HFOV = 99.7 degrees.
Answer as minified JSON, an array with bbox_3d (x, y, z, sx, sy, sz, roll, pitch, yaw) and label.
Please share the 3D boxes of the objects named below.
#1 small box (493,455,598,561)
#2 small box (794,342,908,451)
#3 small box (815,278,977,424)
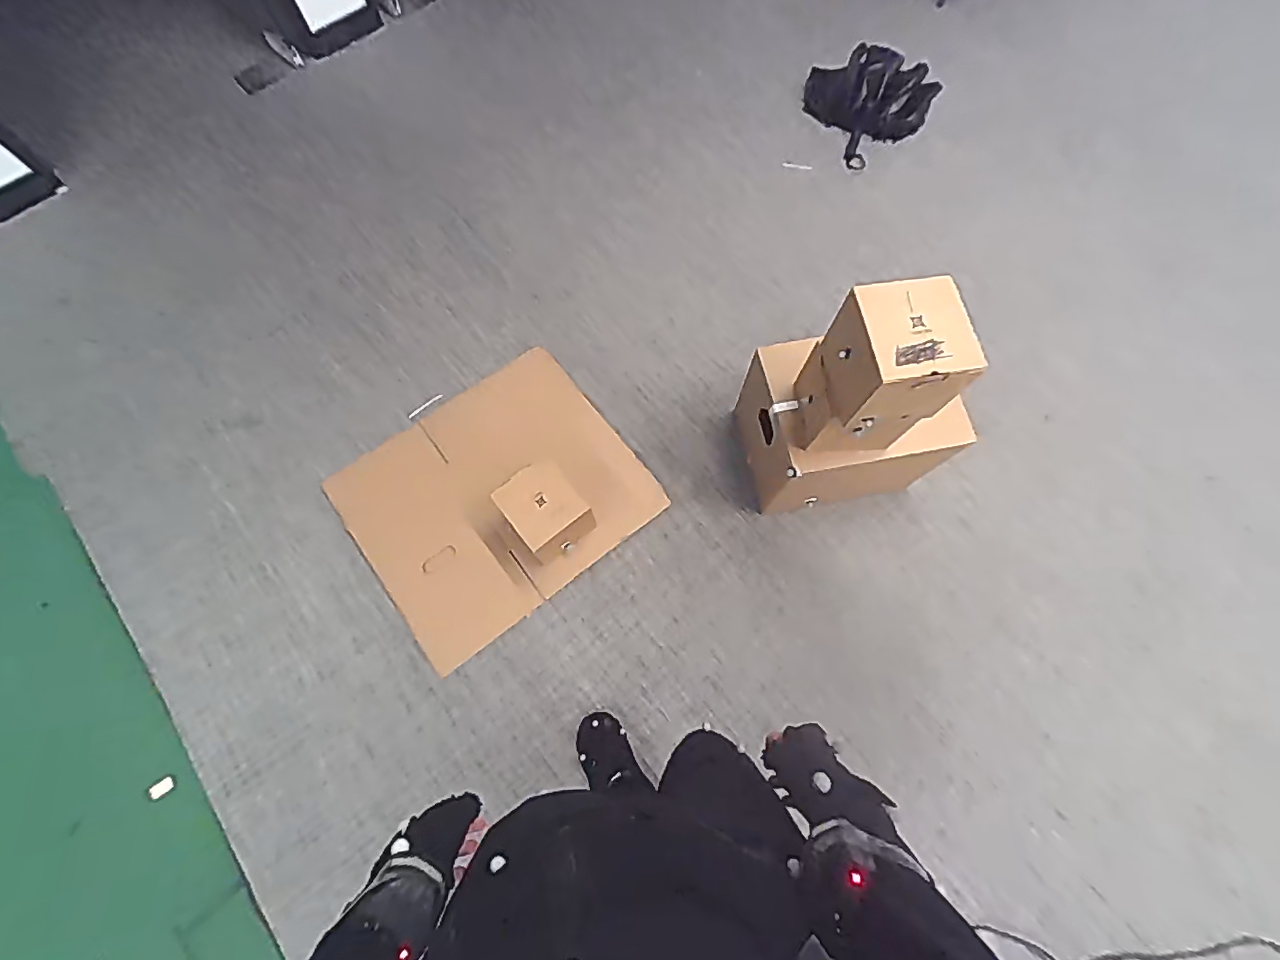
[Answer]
[{"bbox_3d":[-0.221,0.074,1.307,0.168,0.176,0.179,-39,76,-10],"label":"small box"},{"bbox_3d":[0.419,-0.166,1.081,0.179,0.176,0.168,-5,70,-2],"label":"small box"},{"bbox_3d":[0.419,-0.207,0.919,0.168,0.176,0.179,-11,73,-3],"label":"small box"}]
